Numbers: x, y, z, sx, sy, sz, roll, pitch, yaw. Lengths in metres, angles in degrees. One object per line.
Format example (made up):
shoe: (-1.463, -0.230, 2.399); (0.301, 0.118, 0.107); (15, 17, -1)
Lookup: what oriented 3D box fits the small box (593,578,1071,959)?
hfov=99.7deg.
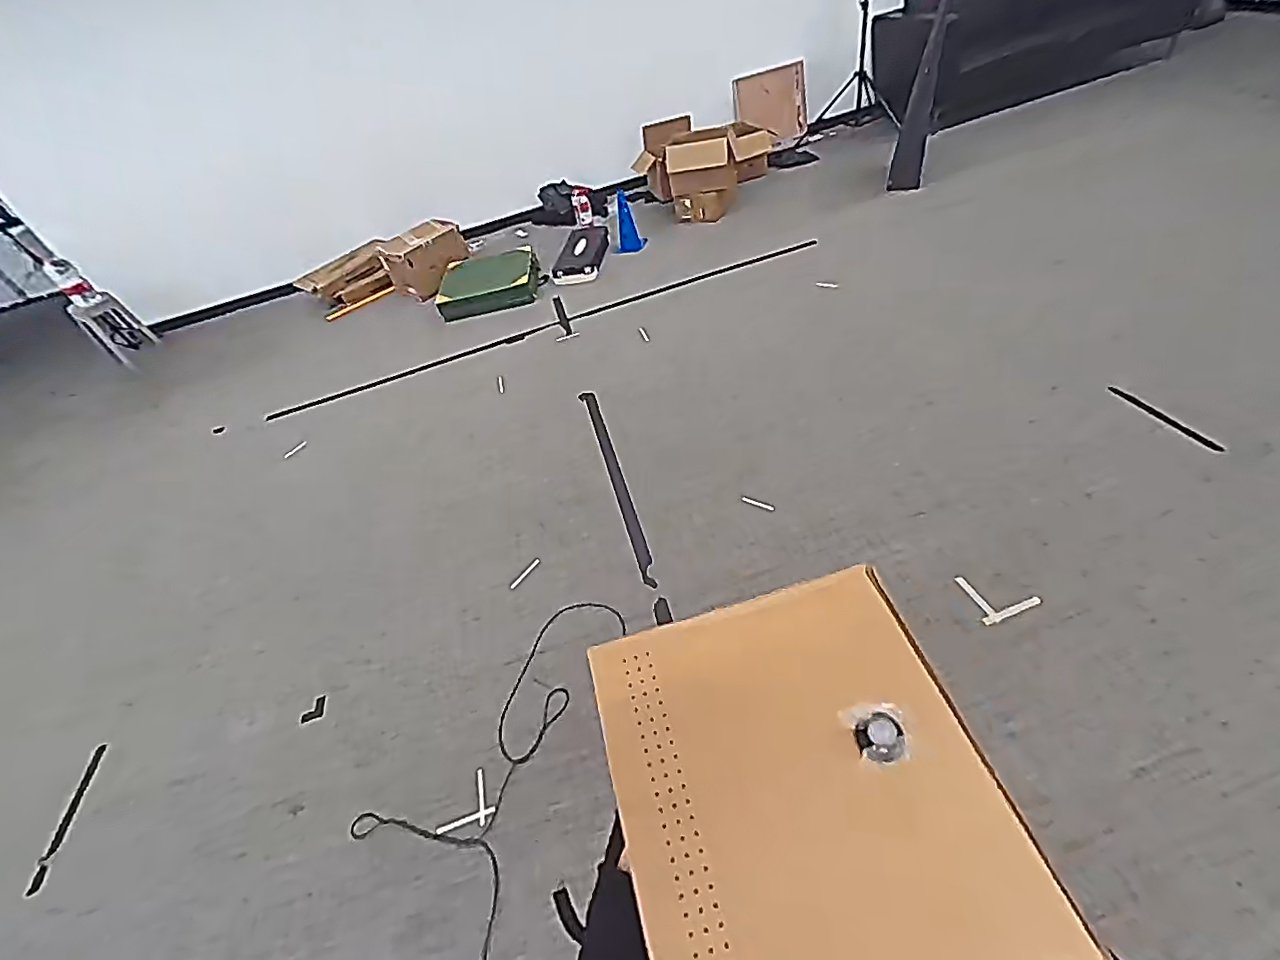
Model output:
small box: (0.078, 0.191, 0.318); (0.176, 0.168, 0.179); (-17, 52, -2)
